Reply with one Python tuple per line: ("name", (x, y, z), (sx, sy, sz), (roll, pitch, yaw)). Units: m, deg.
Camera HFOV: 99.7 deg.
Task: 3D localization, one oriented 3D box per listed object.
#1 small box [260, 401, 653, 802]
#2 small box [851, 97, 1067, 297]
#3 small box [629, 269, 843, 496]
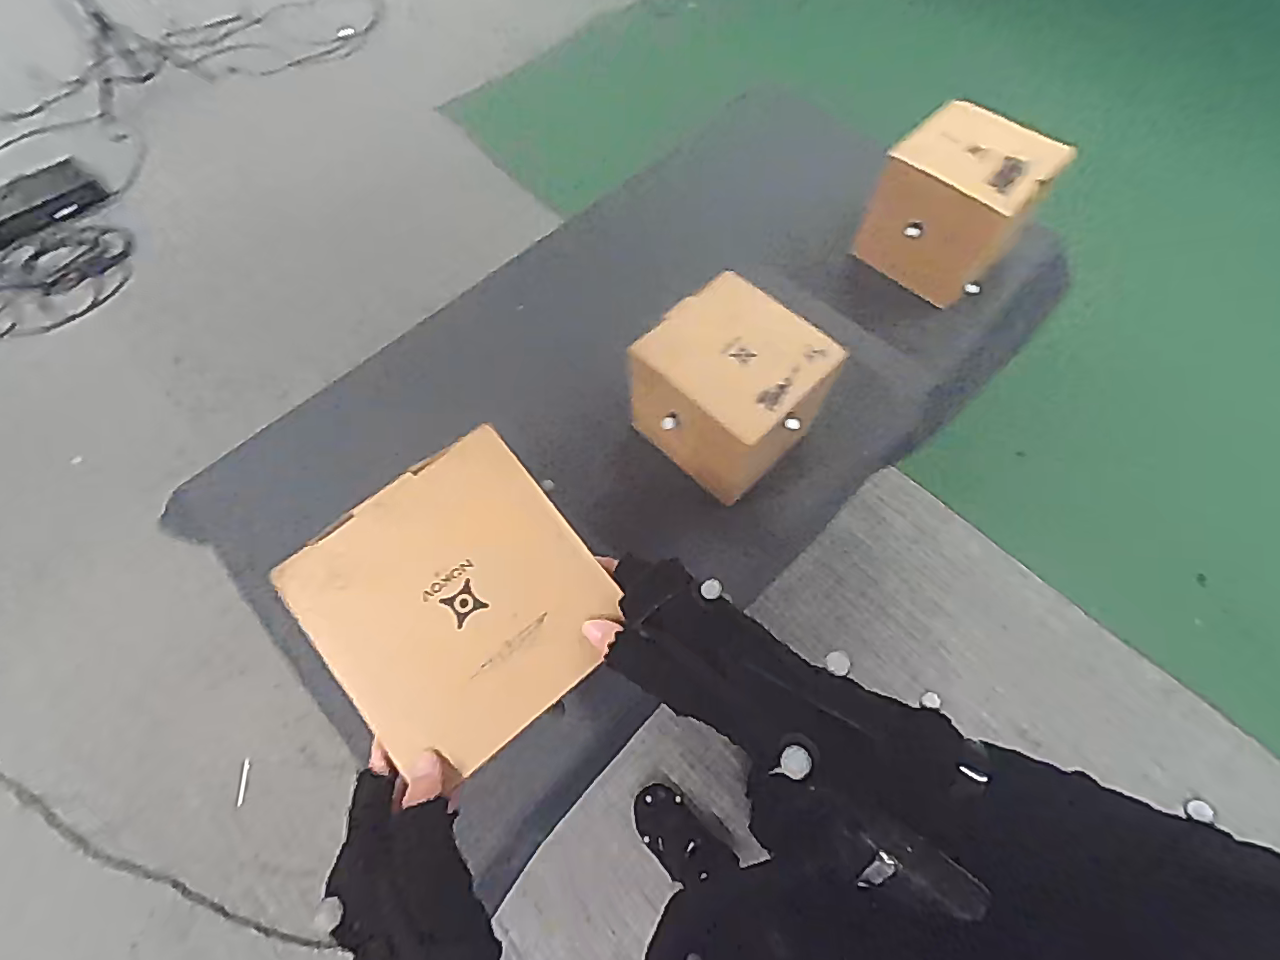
("small box", (-0.112, 0.080, 0.392), (0.168, 0.176, 0.179), (-35, 82, -10))
("small box", (0.443, -0.396, 0.781), (0.168, 0.176, 0.179), (-42, 70, -16))
("small box", (0.104, -0.110, 0.657), (0.168, 0.176, 0.179), (-42, 71, -16))
